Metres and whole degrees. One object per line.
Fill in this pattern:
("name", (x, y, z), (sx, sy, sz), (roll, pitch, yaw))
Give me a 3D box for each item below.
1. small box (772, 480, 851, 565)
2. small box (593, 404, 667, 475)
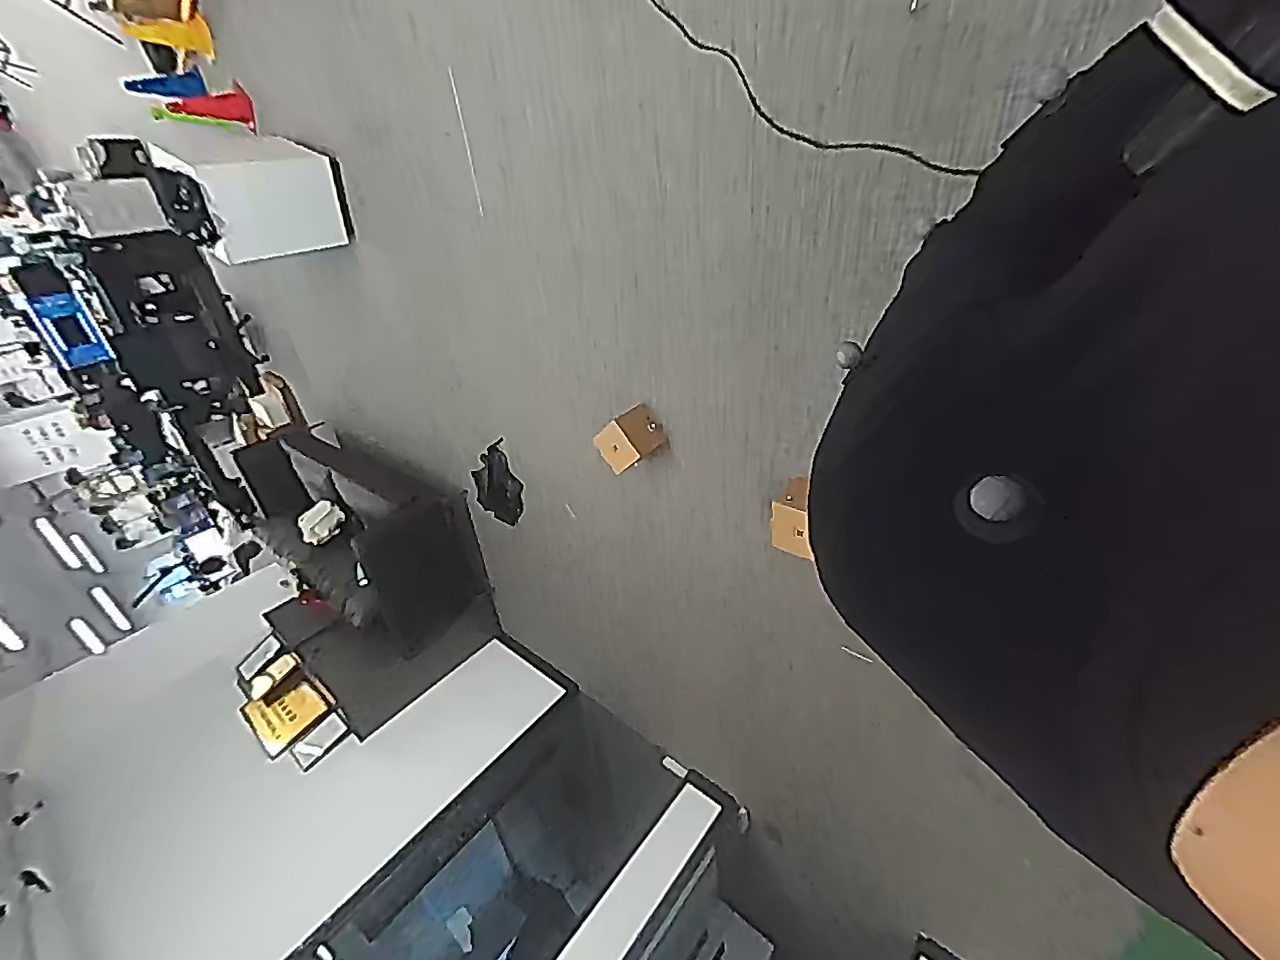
("small box", (0.512, 0.120, 1.611), (0.179, 0.176, 0.168), (19, 129, 38))
("small box", (-0.034, -0.150, 1.988), (0.168, 0.176, 0.179), (54, 141, 0))
